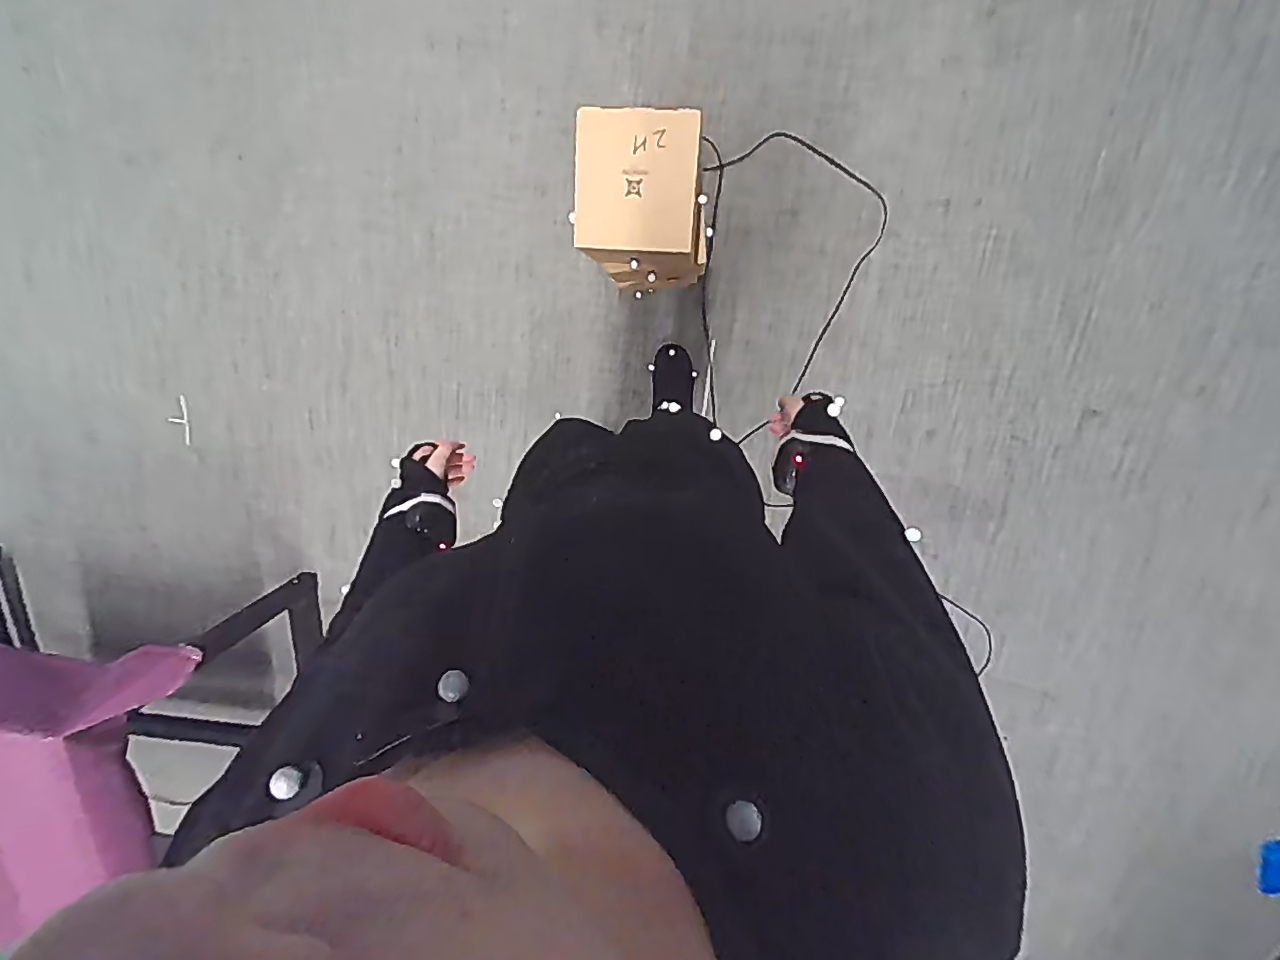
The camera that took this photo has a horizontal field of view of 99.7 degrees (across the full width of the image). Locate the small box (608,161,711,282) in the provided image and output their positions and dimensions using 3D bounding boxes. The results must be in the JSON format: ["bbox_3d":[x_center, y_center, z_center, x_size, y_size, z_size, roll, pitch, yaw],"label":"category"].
[{"bbox_3d":[0.036,-0.454,0.971,0.179,0.176,0.168,-2,105,8],"label":"small box"}]

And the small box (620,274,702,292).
[{"bbox_3d":[0.040,-0.495,1.129,0.168,0.176,0.179,-6,103,8],"label":"small box"}]

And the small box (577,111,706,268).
[{"bbox_3d":[0.008,-0.421,0.812,0.168,0.176,0.179,6,106,5],"label":"small box"}]
